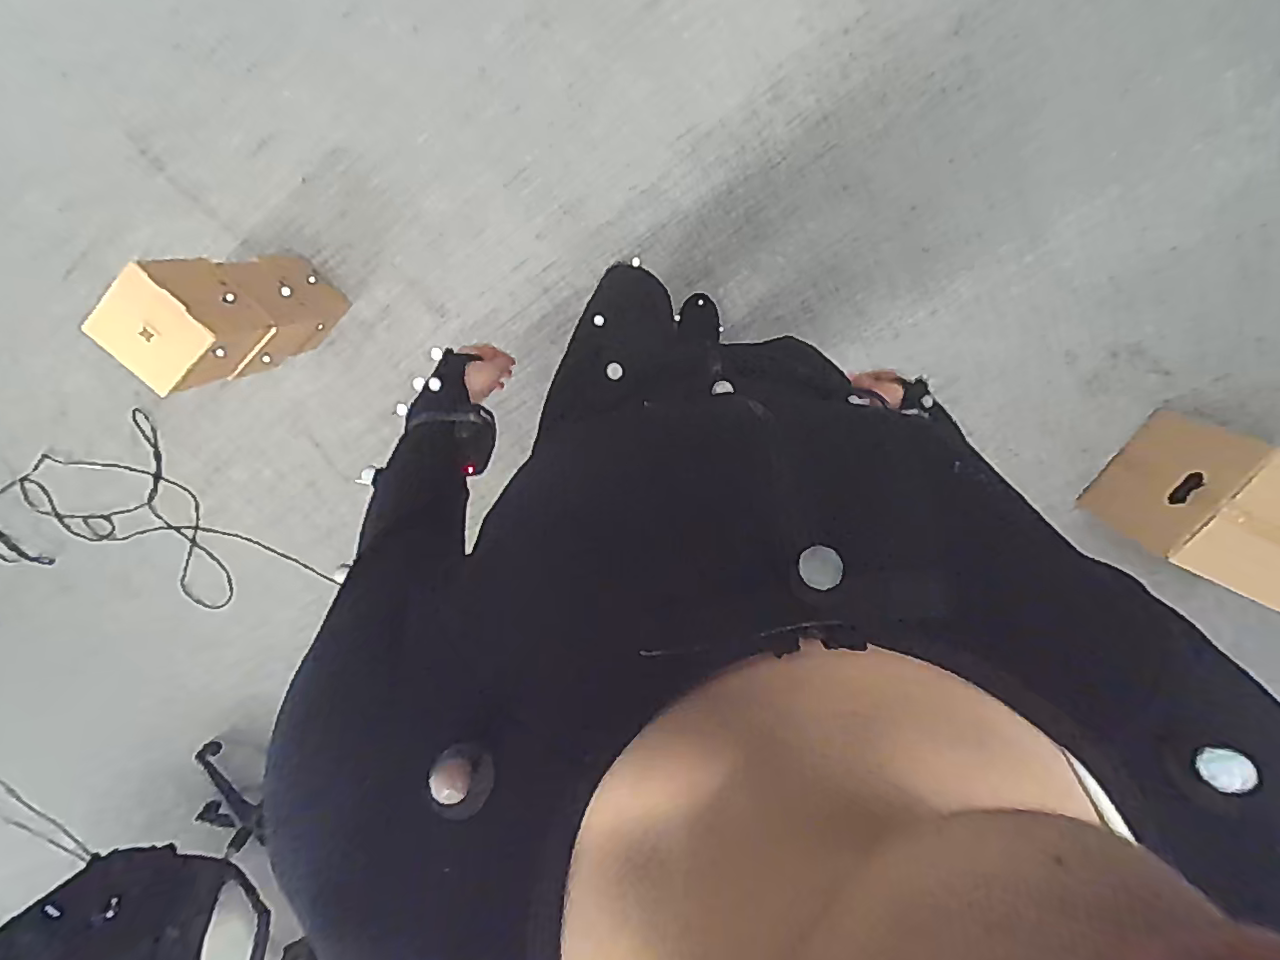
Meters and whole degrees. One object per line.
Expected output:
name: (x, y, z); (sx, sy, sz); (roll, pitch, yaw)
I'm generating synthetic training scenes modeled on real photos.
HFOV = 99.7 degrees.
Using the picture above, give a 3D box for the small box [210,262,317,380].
small box: (-0.849, -0.347, 1.168); (0.179, 0.176, 0.168); (-36, 108, 15)

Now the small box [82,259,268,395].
small box: (-0.856, -0.290, 1.016); (0.179, 0.176, 0.168); (-37, 107, 16)

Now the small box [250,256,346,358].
small box: (-0.857, -0.423, 1.314); (0.179, 0.176, 0.168); (-40, 106, 18)
